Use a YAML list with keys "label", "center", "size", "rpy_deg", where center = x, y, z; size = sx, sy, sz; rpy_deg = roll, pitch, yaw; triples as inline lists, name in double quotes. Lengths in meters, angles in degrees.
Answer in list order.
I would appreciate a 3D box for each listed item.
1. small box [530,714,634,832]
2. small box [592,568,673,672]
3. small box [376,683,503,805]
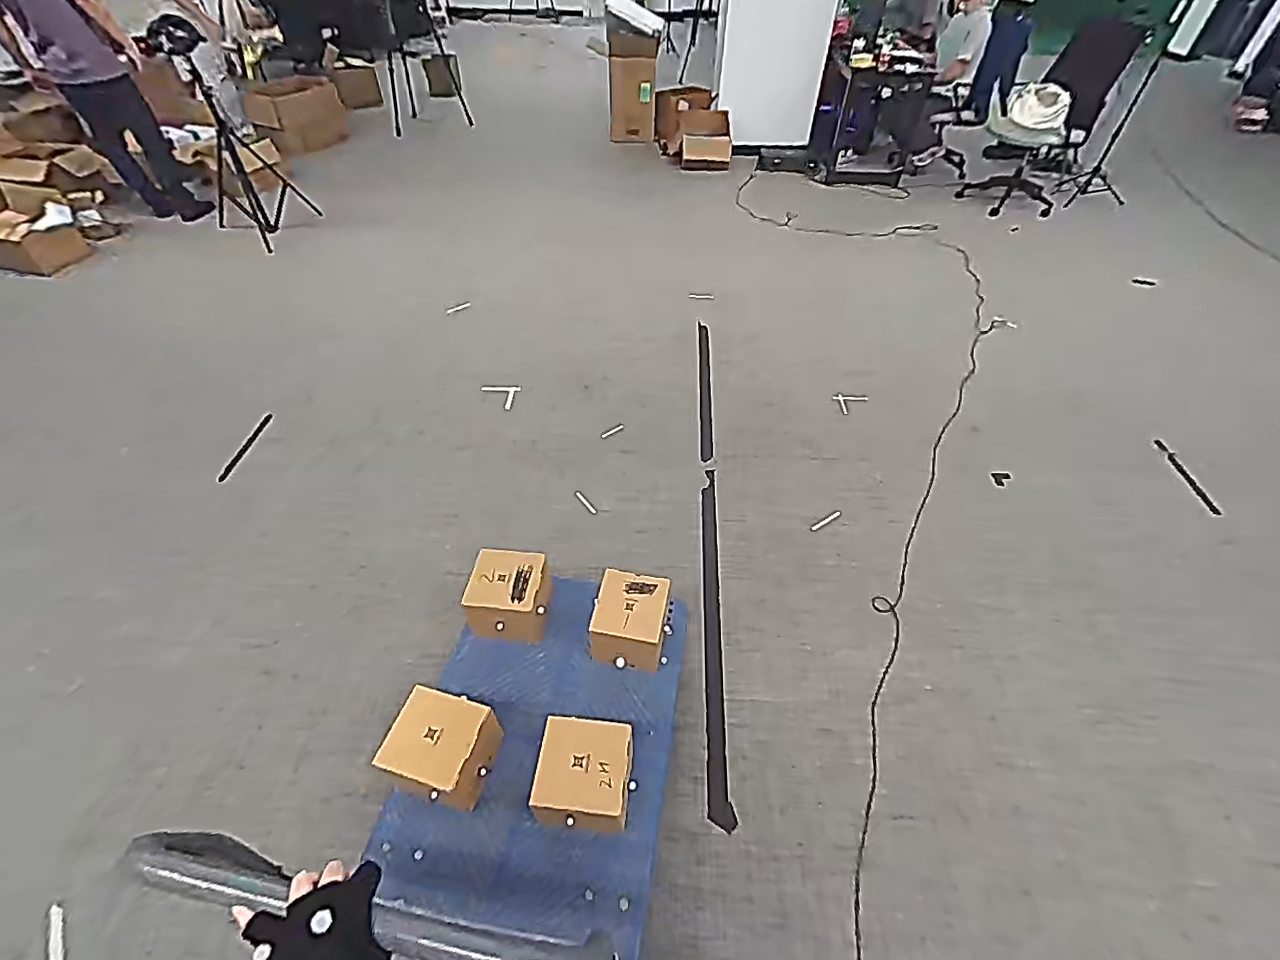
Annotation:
- label: "small box"
  center: [-0.110, 0.603, 1.108]
  size: [0.179, 0.176, 0.168]
  rpy_deg: [5, 47, 5]
- label: "small box"
  center: [-0.016, 0.349, 1.348]
  size: [0.168, 0.176, 0.179]
  rpy_deg: [9, 48, 8]
- label: "small box"
  center: [-0.413, 0.562, 1.145]
  size: [0.179, 0.176, 0.168]
  rpy_deg: [13, 47, 10]
